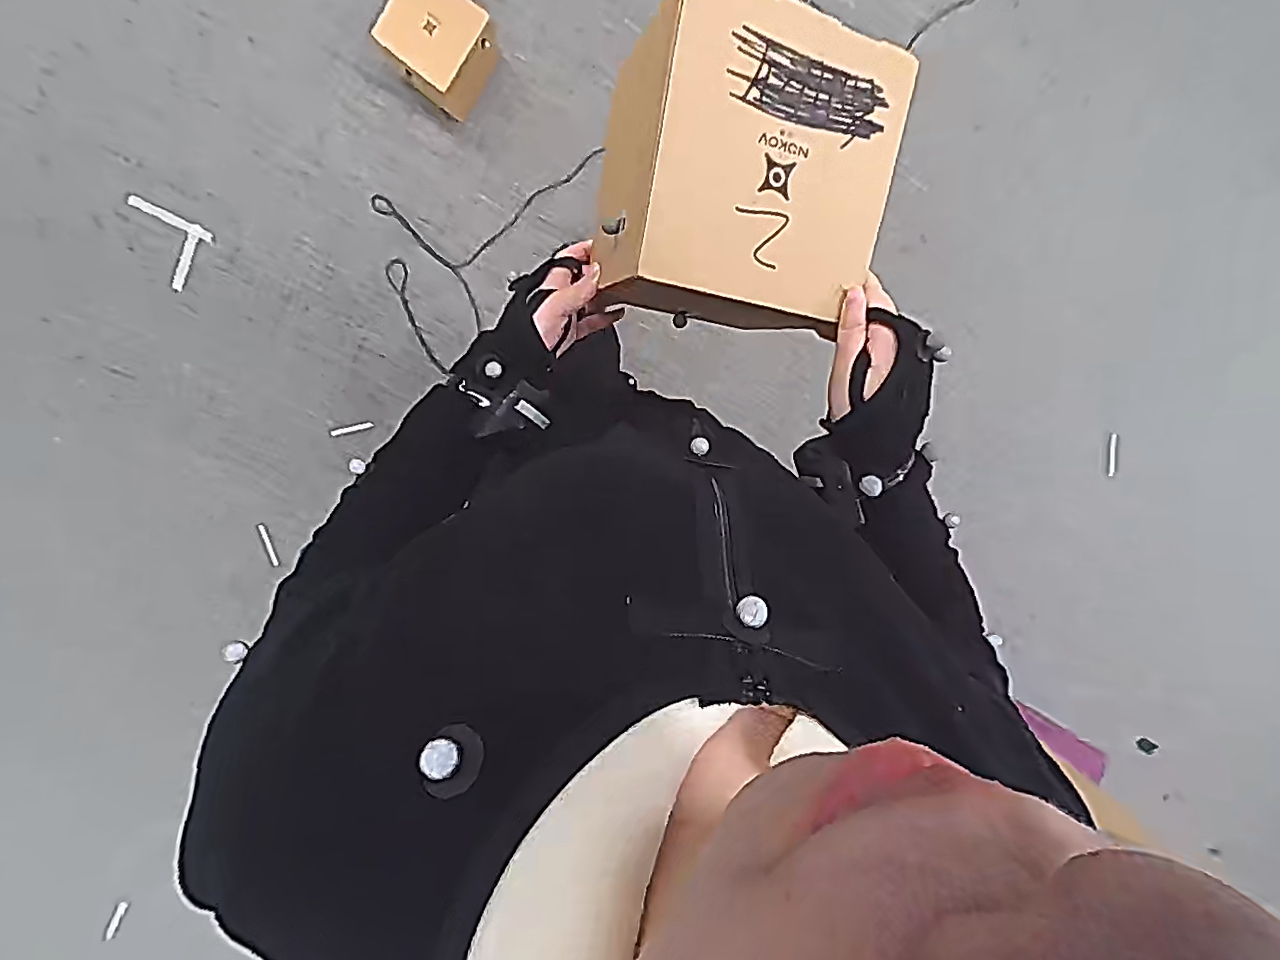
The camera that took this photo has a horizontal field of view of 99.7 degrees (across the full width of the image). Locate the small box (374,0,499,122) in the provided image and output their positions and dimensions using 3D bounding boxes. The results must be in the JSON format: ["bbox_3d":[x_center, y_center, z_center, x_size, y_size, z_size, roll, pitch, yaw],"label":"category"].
[{"bbox_3d":[-0.414,-0.906,1.136,0.168,0.176,0.179,34,98,-14],"label":"small box"}]
